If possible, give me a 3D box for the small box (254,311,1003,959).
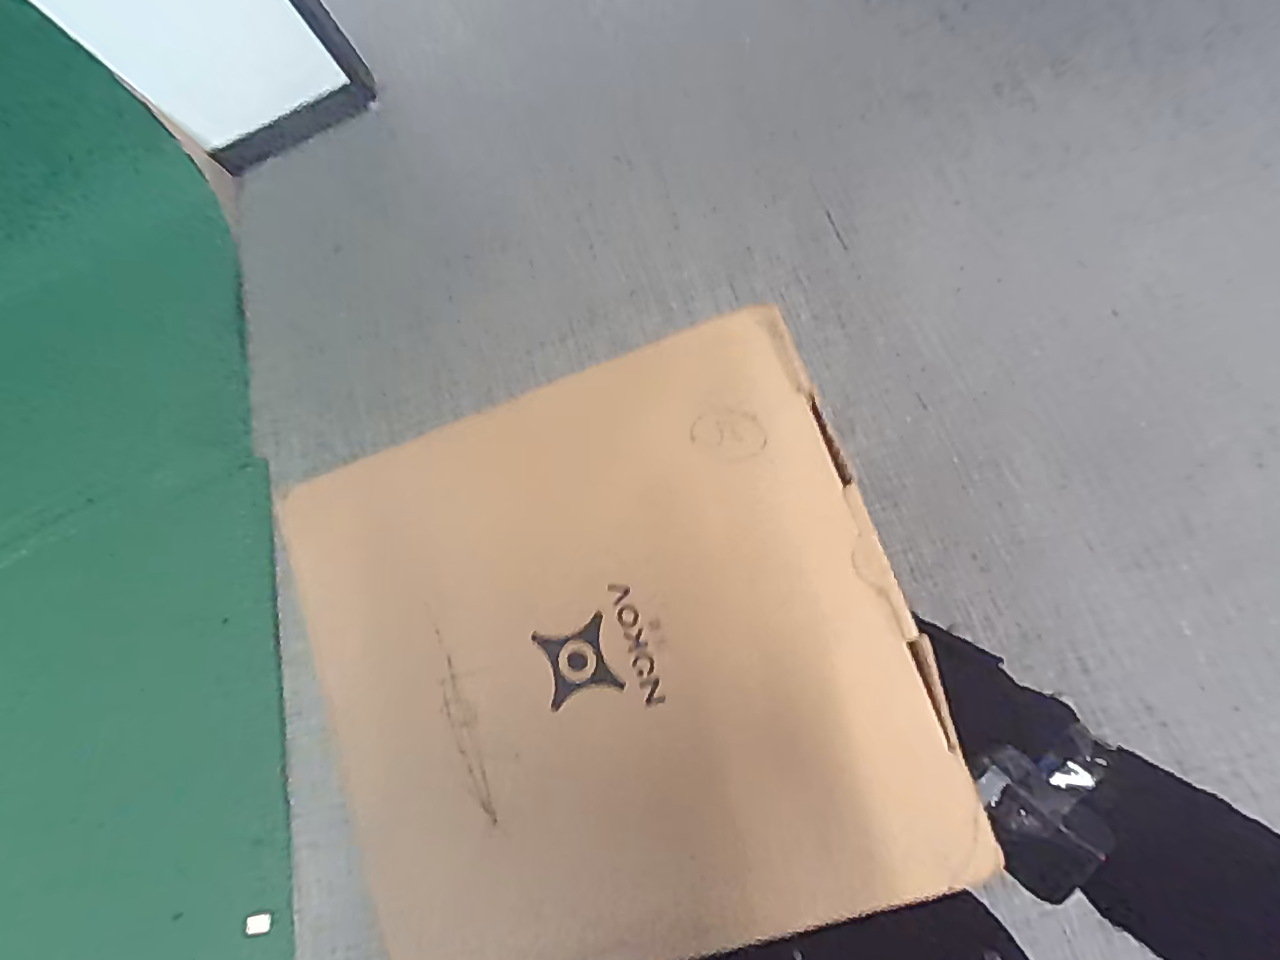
[{"bbox_3d":[-0.004,0.064,0.230,0.179,0.176,0.168,-22,80,8],"label":"small box"}]
